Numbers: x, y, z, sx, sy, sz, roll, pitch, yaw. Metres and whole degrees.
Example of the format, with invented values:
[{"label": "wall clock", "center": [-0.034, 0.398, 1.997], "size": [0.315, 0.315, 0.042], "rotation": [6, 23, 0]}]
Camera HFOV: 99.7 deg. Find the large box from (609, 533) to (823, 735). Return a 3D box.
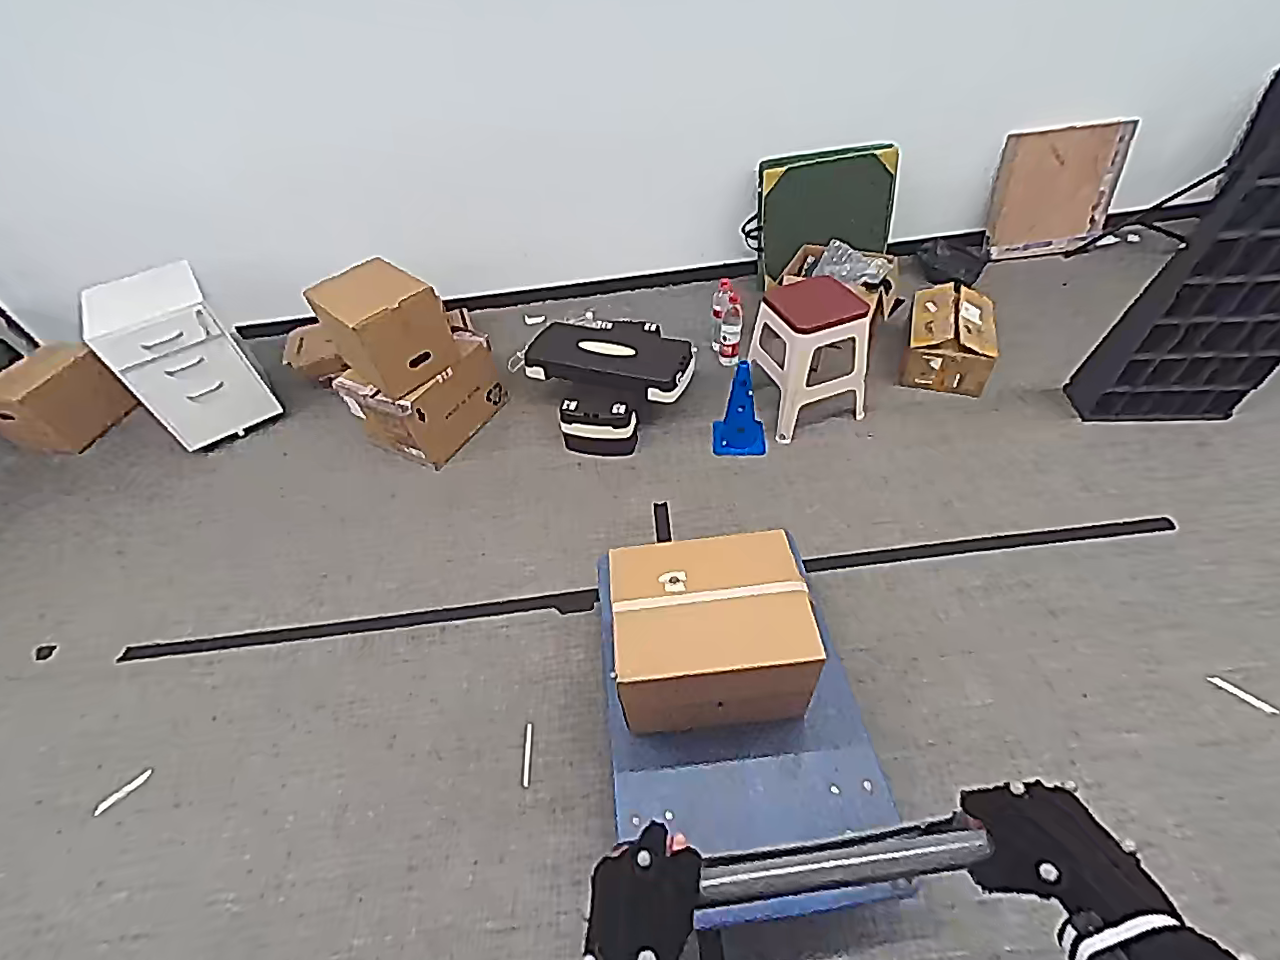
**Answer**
[{"label": "large box", "center": [0.157, 0.358, 1.240], "size": [0.408, 0.320, 0.320], "rotation": [-8, 47, 1]}]
